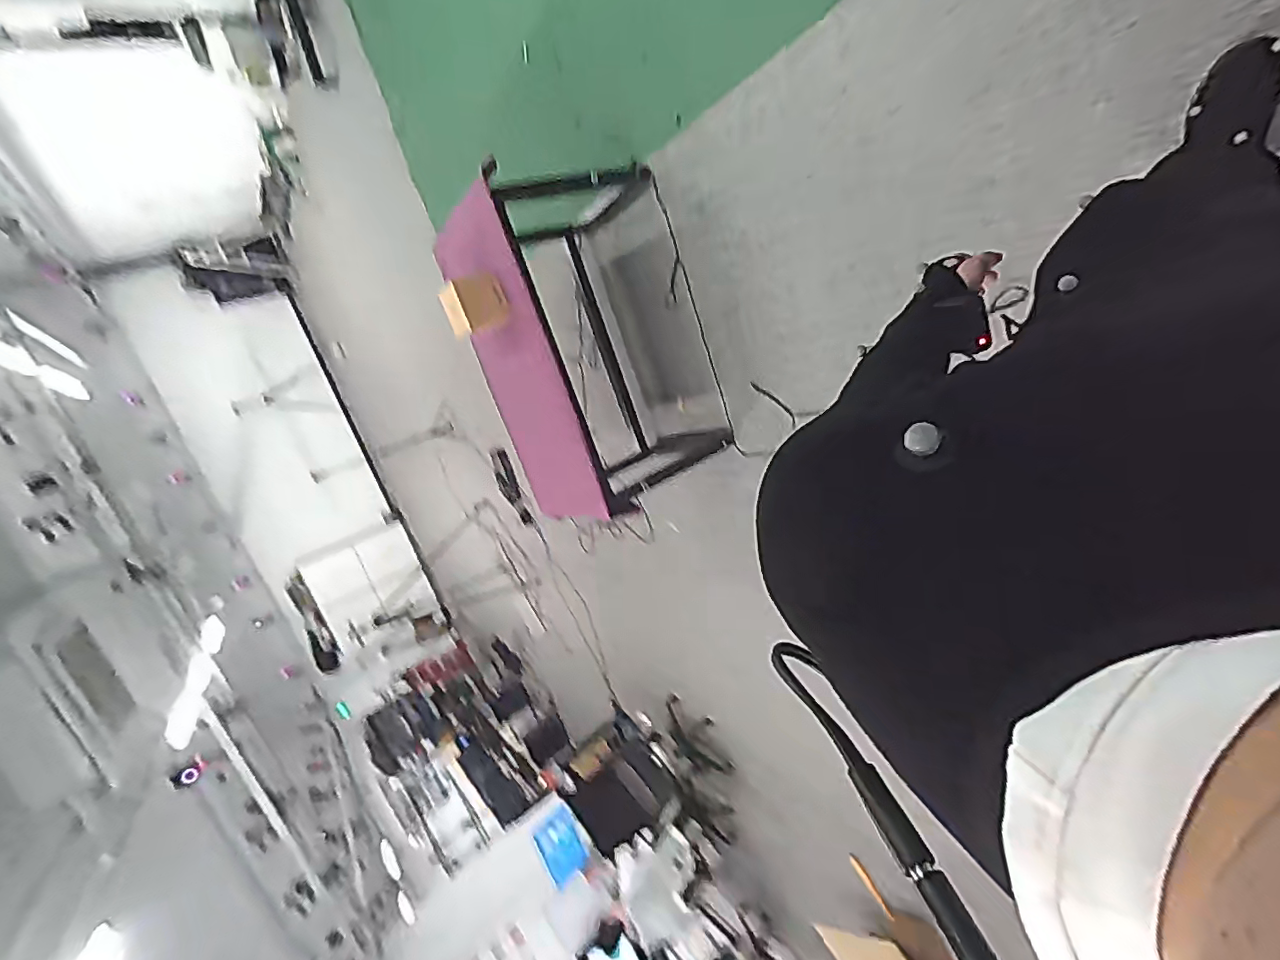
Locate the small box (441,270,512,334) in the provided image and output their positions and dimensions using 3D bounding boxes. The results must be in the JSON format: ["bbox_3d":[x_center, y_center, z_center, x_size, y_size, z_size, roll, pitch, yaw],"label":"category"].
[{"bbox_3d":[-0.582,-0.635,1.932,0.179,0.176,0.168,5,118,55],"label":"small box"}]
